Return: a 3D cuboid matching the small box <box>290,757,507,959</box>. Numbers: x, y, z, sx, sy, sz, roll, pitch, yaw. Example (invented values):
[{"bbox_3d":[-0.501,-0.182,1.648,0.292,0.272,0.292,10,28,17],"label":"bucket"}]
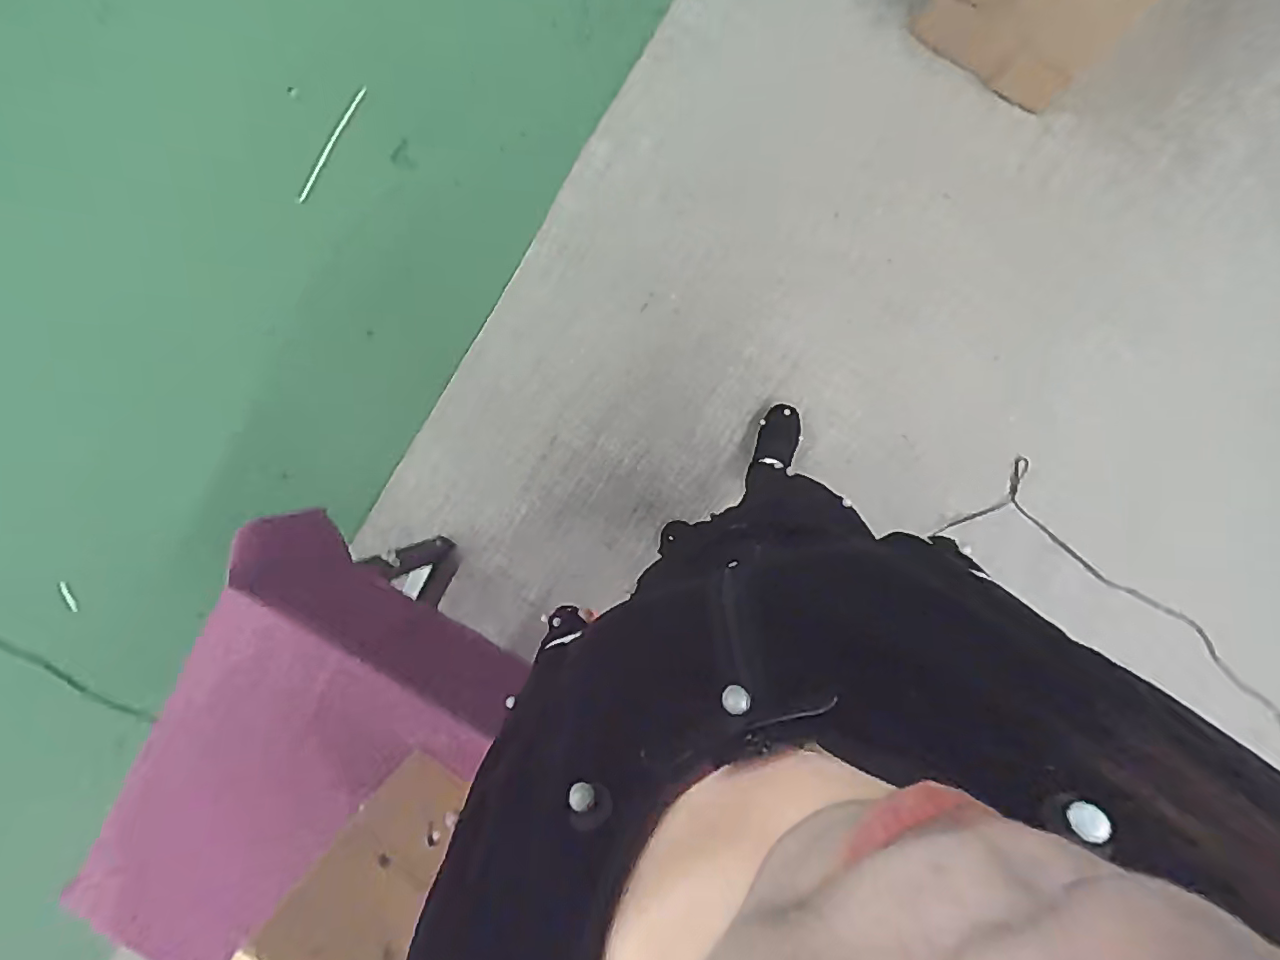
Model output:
[{"bbox_3d":[-0.310,0.521,0.736,0.179,0.176,0.168,33,94,3],"label":"small box"}]
